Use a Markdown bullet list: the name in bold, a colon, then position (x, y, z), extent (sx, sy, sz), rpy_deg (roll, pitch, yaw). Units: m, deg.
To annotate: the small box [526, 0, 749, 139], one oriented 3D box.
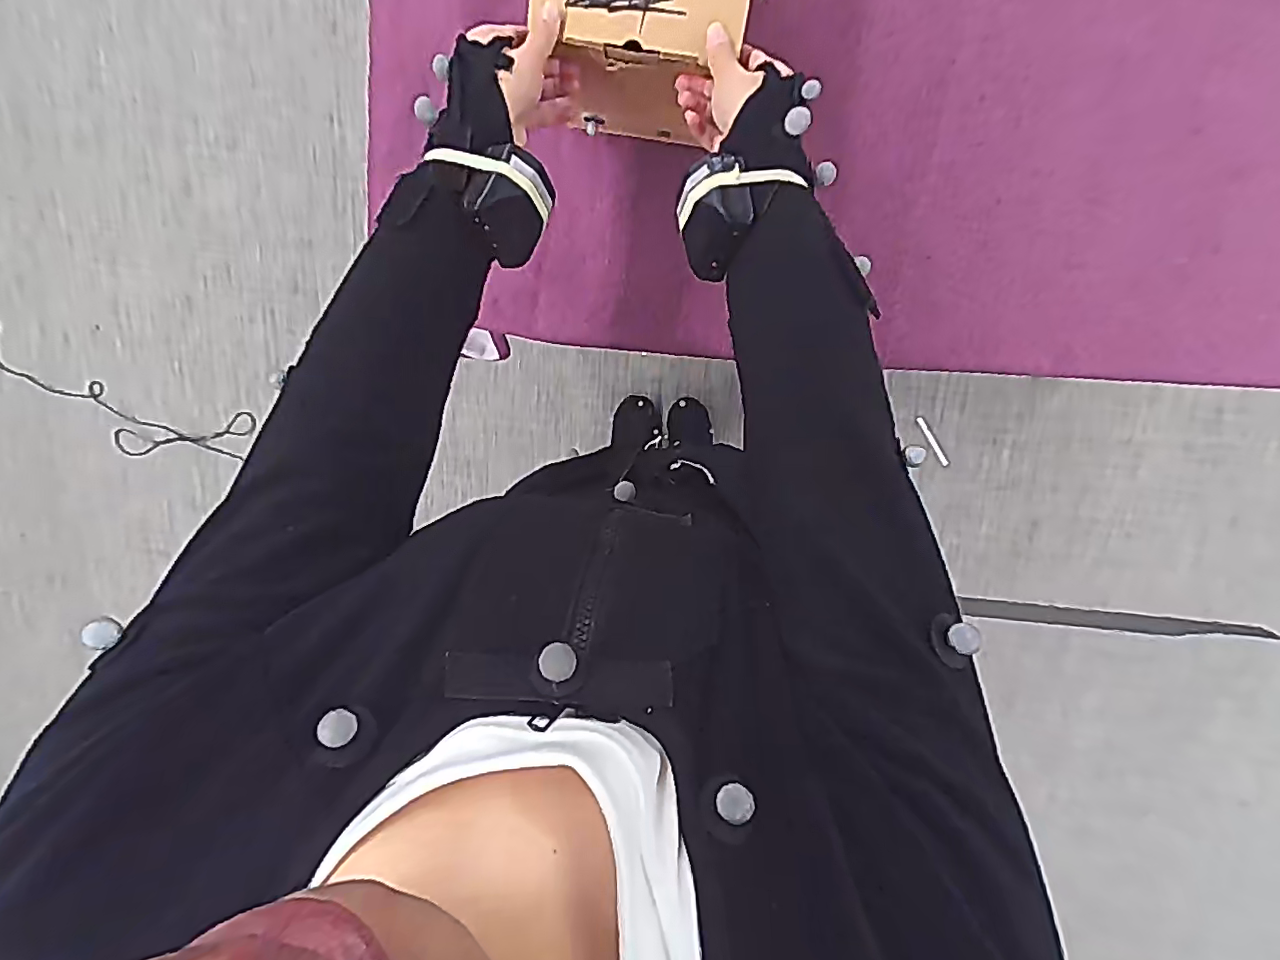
- **small box**: position (0.012, -0.428, 0.468), extent (0.168, 0.176, 0.179), rpy_deg (10, 102, 2)
